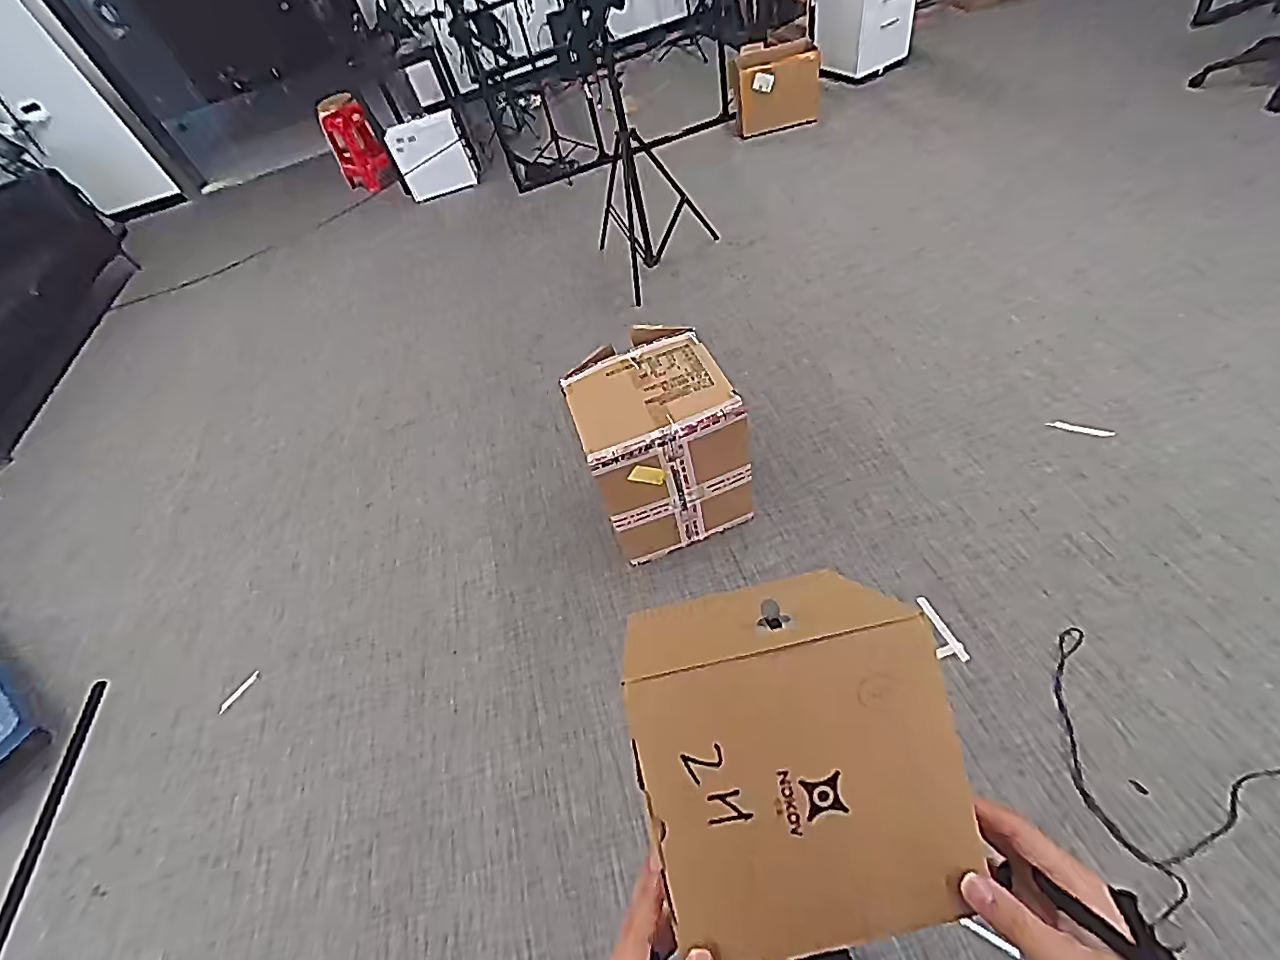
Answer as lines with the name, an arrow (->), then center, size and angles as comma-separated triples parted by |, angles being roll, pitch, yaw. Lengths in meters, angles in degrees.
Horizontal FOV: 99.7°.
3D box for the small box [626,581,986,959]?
small box -> 0.092, 0.177, 0.380 | 0.179, 0.176, 0.168 | -13, 88, 0
